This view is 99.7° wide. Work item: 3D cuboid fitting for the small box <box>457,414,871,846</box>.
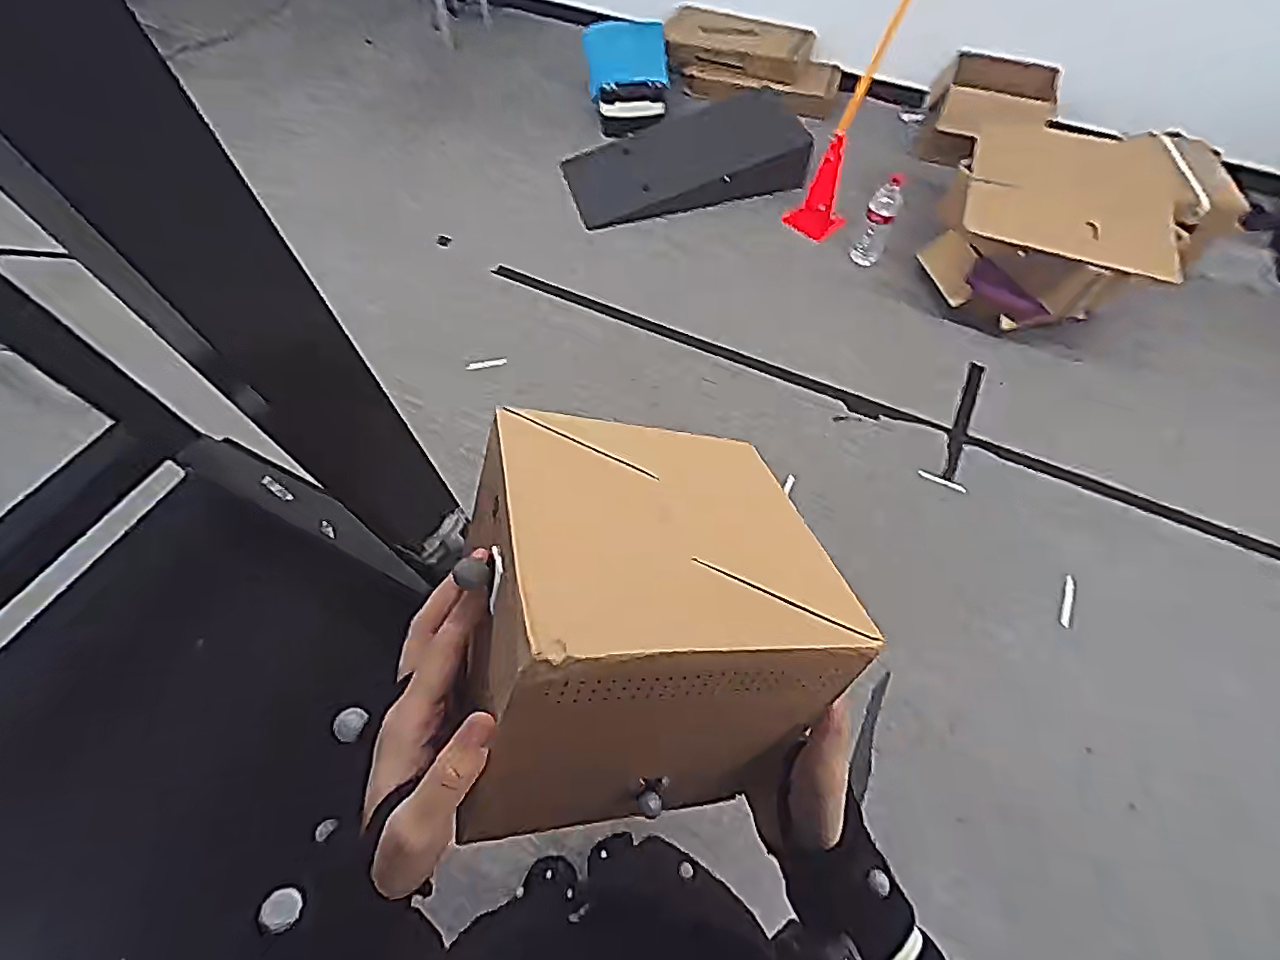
[{"bbox_3d":[-0.006,0.080,0.322,0.179,0.176,0.168,7,37,-25],"label":"small box"}]
